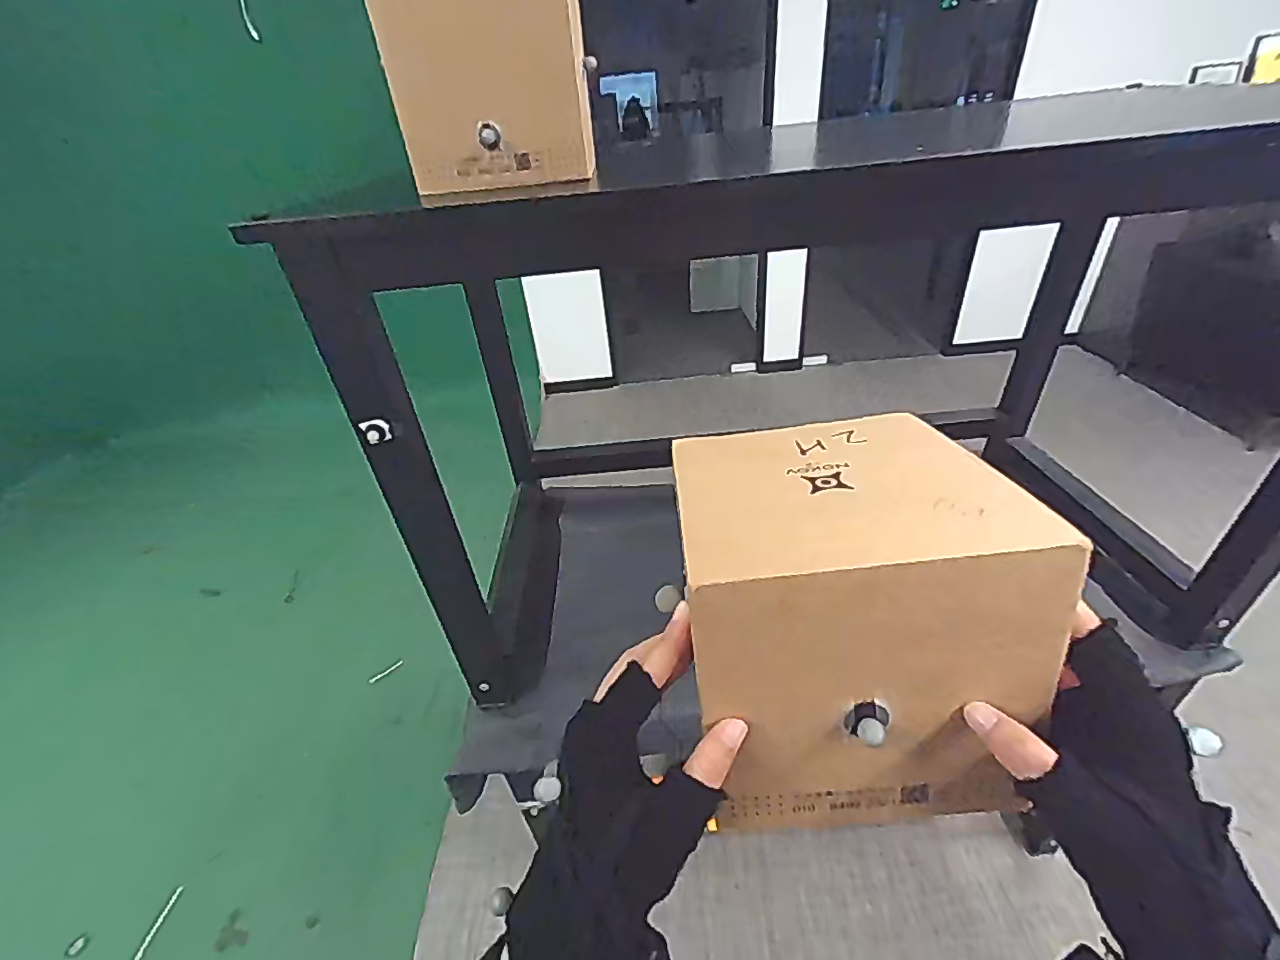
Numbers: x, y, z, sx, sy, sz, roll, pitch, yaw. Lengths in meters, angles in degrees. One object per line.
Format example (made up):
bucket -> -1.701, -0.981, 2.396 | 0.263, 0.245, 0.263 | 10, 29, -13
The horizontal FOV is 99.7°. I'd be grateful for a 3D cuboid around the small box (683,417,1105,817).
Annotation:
small box -> 0.118, 0.076, 0.329 | 0.168, 0.176, 0.179 | -5, 25, 4
